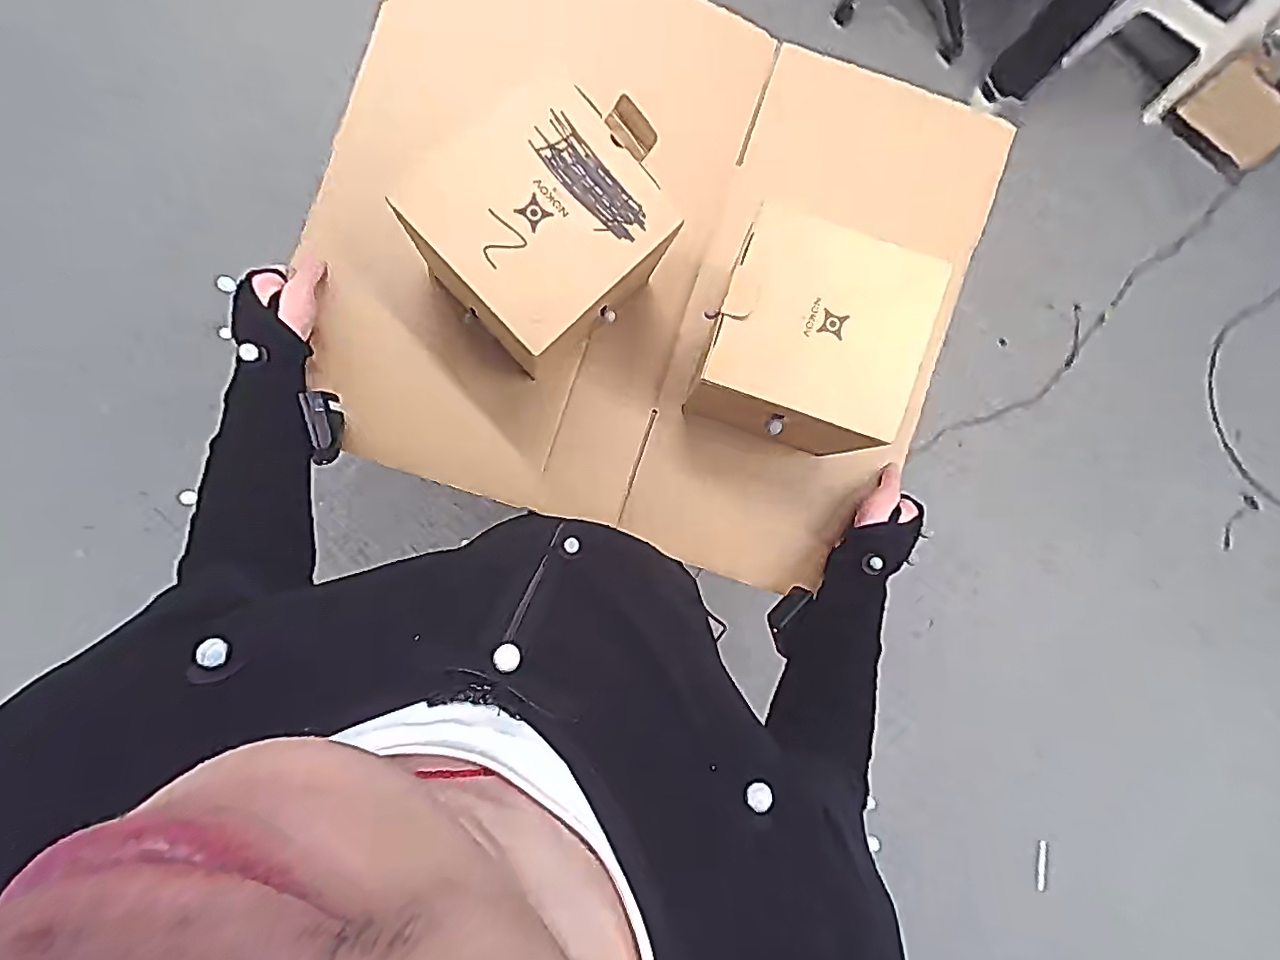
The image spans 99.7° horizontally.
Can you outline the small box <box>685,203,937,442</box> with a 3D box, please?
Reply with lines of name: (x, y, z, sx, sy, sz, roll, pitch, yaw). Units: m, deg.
small box: (0.157, -0.142, 0.557, 0.179, 0.176, 0.168, 18, 89, 0)
